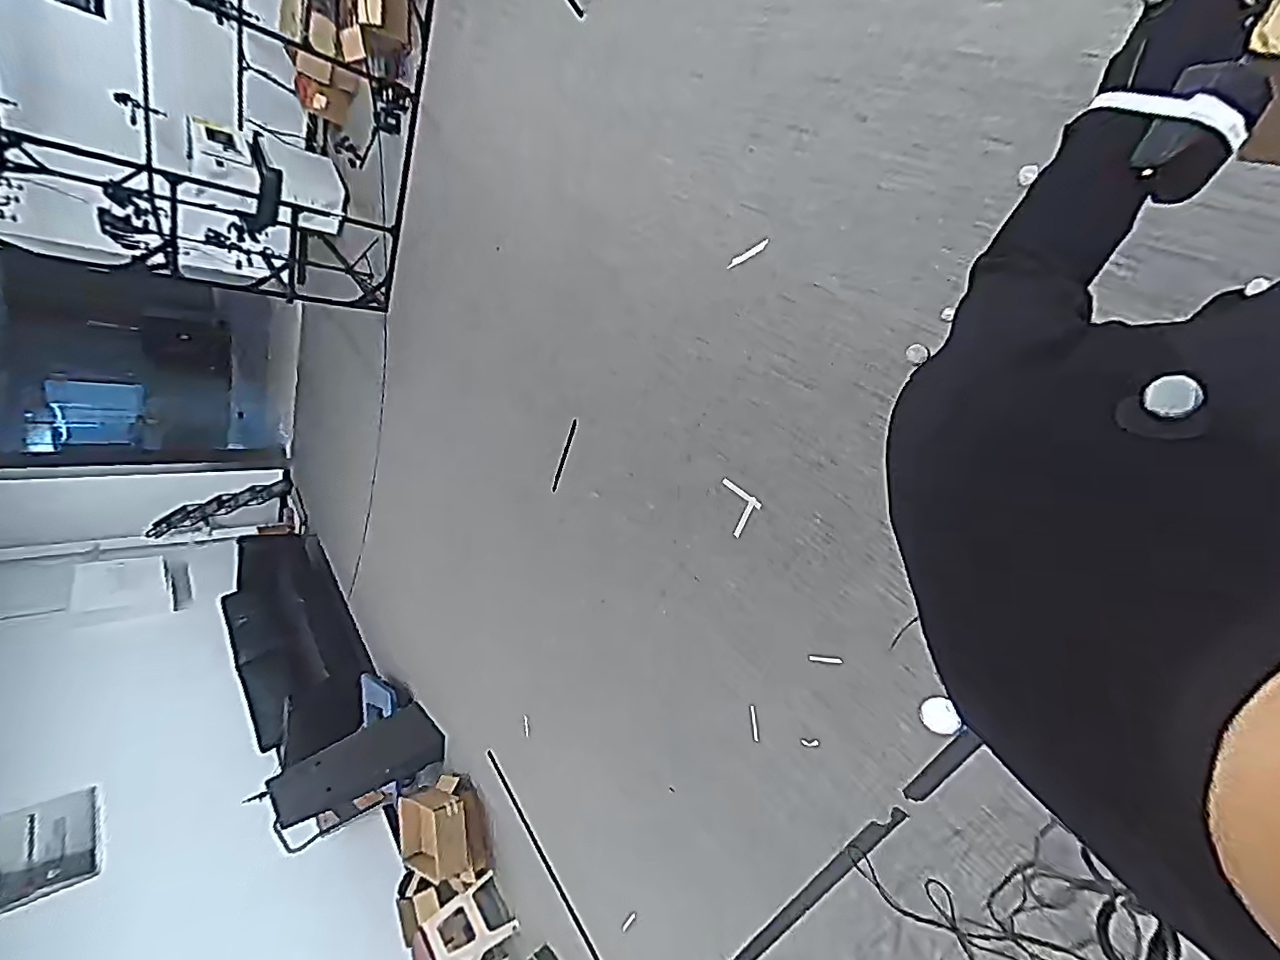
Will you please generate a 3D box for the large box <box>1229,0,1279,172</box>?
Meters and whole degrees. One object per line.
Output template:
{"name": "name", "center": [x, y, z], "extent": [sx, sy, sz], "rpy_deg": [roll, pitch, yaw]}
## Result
{"name": "large box", "center": [0.663, -0.336, 0.276], "extent": [0.408, 0.320, 0.320], "rpy_deg": [37, 126, 35]}
